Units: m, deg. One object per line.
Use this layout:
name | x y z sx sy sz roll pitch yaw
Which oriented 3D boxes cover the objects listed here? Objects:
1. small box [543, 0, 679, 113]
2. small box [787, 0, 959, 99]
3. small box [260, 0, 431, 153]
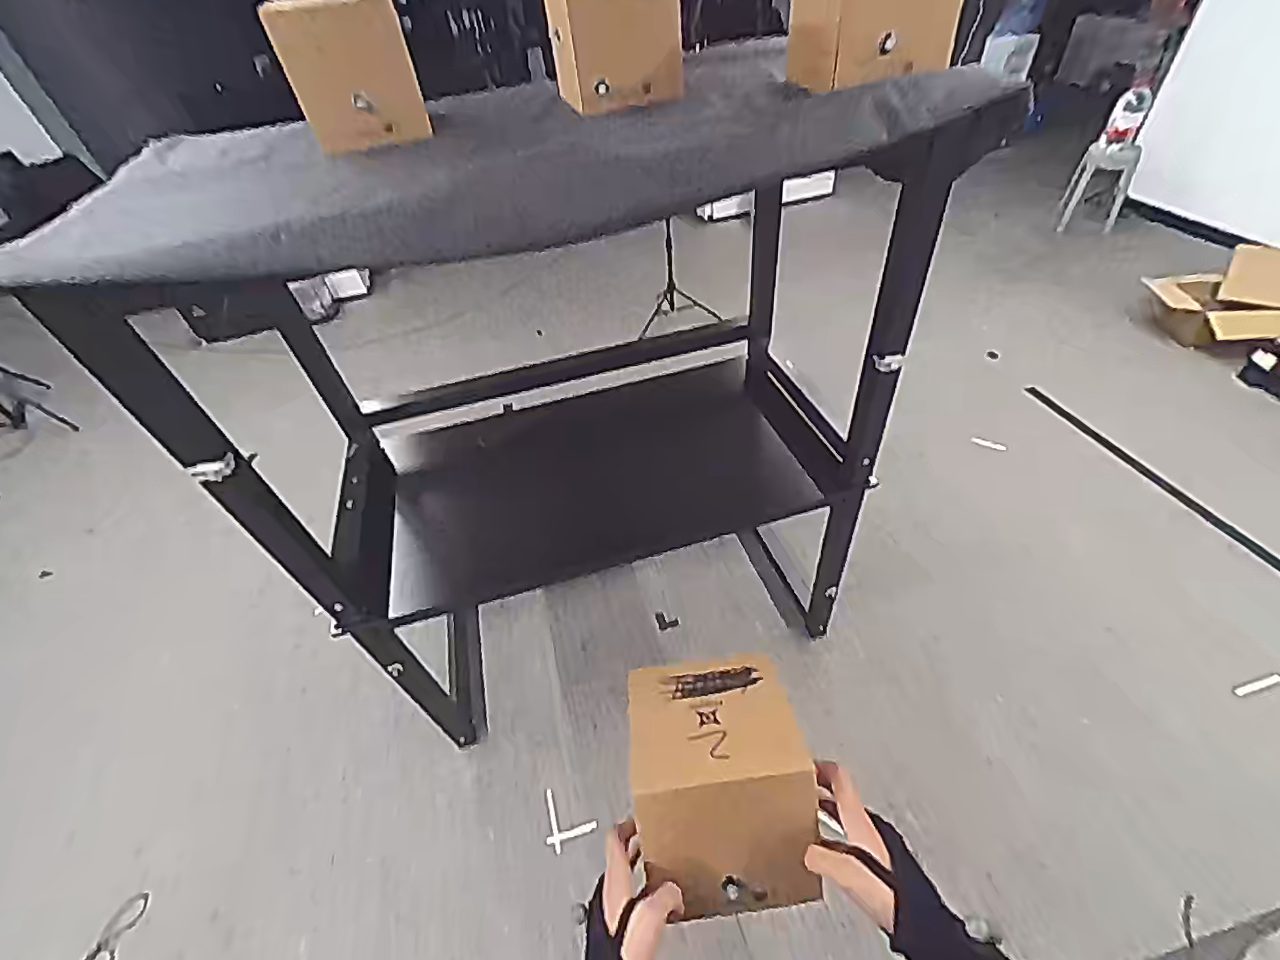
small box | -0.044 -0.690 0.840 0.168 0.176 0.179 -17 45 -9
small box | 0.315 -0.648 0.750 0.168 0.176 0.179 -12 45 -3
small box | -0.429 -0.617 0.819 0.168 0.176 0.179 -17 47 -9
